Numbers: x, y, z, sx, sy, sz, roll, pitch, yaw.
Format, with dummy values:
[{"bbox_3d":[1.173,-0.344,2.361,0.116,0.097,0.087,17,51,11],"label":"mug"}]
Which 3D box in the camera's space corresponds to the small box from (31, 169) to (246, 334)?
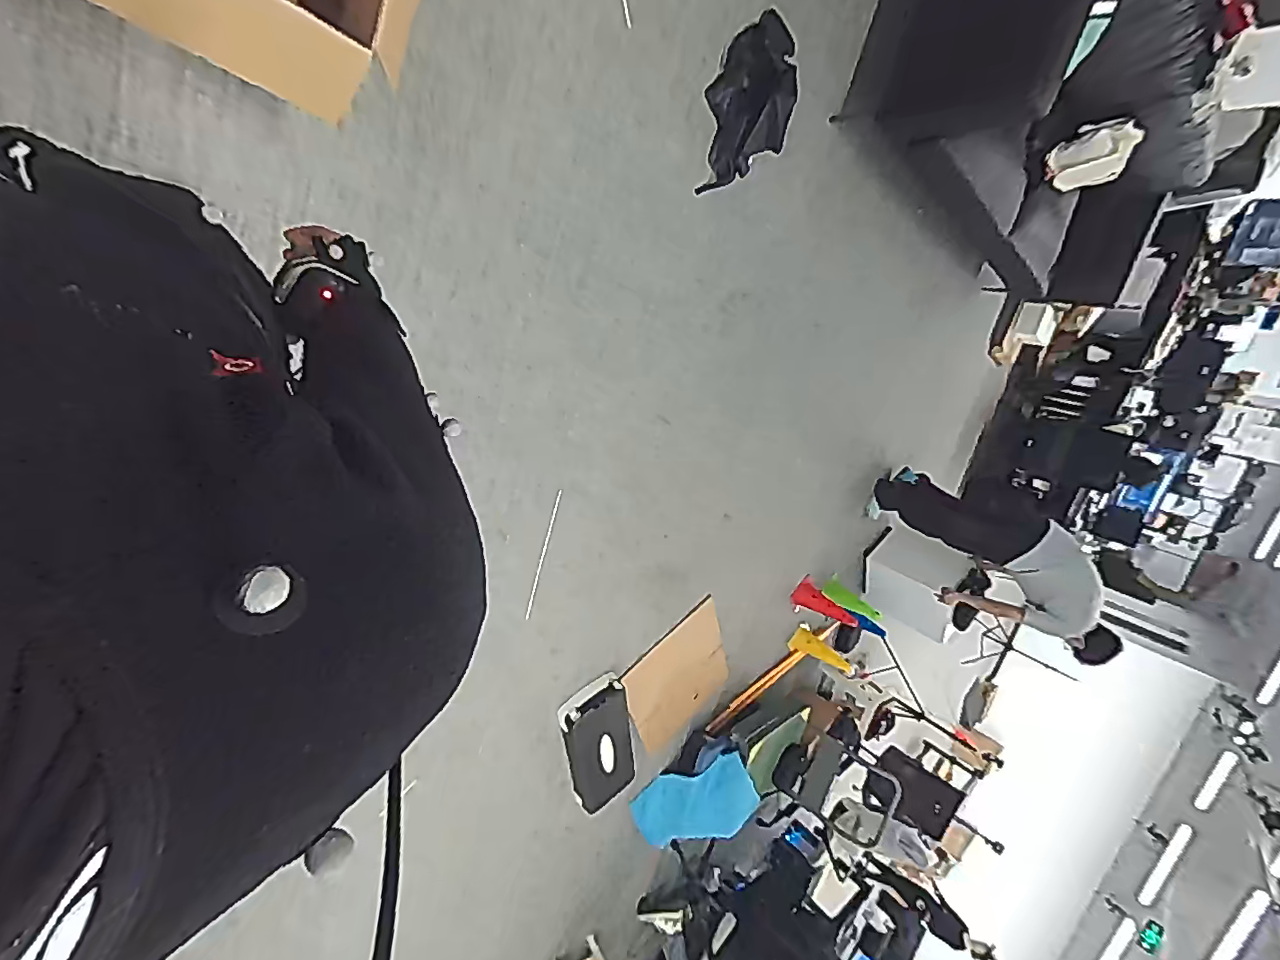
[{"bbox_3d":[-0.807,-0.364,0.890,0.176,0.168,0.179,-24,142,2],"label":"small box"}]
